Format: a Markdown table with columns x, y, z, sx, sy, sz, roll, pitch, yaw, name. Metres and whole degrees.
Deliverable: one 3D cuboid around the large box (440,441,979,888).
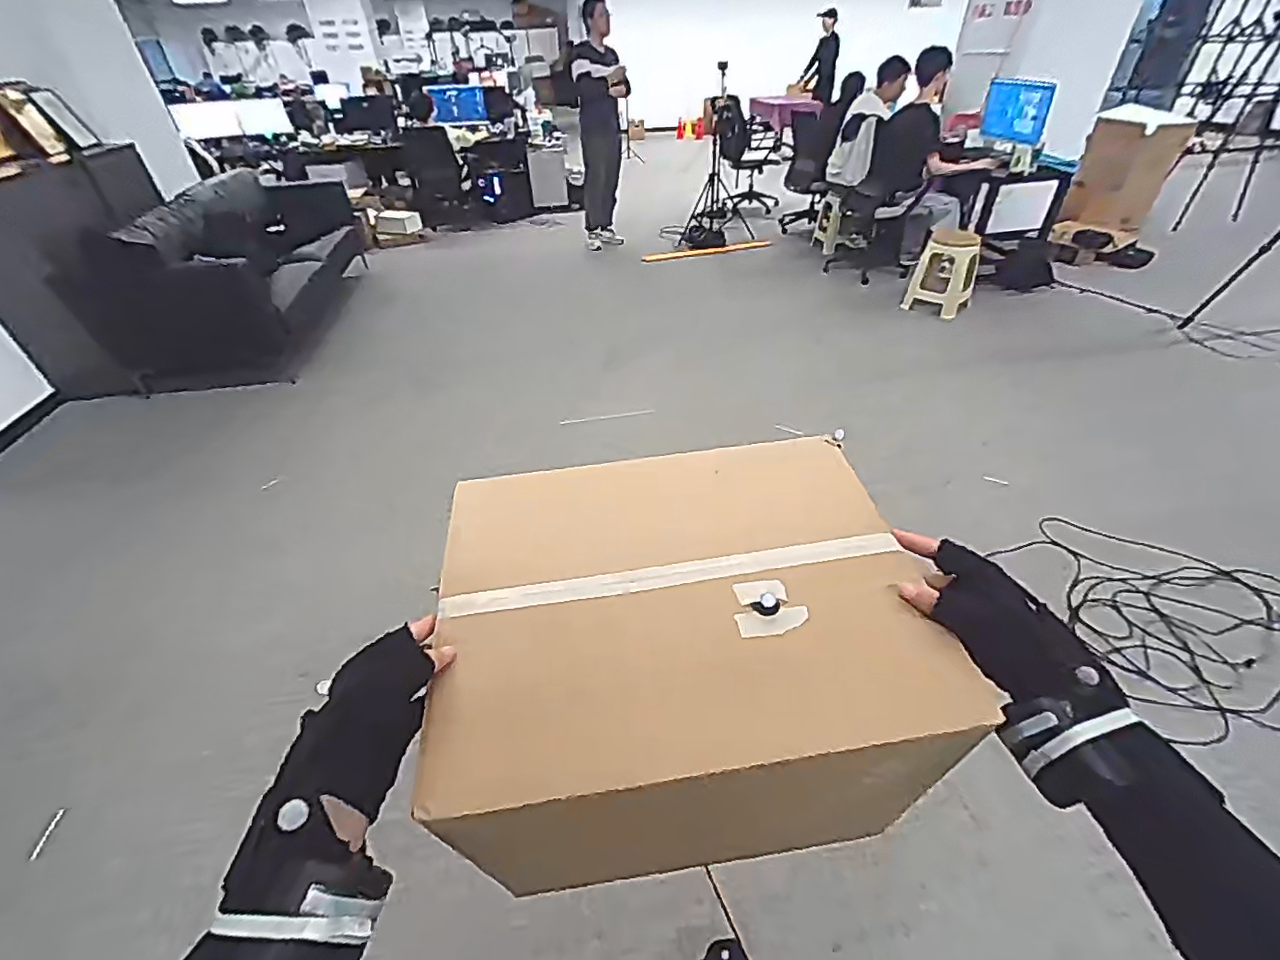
| x | y | z | sx | sy | sz | roll | pitch | yaw | name |
| --- | --- | --- | --- | --- | --- | --- | --- | --- | --- |
| 0.040 | 0.195 | 0.590 | 0.408 | 0.320 | 0.320 | -8 | 46 | -4 | large box |
